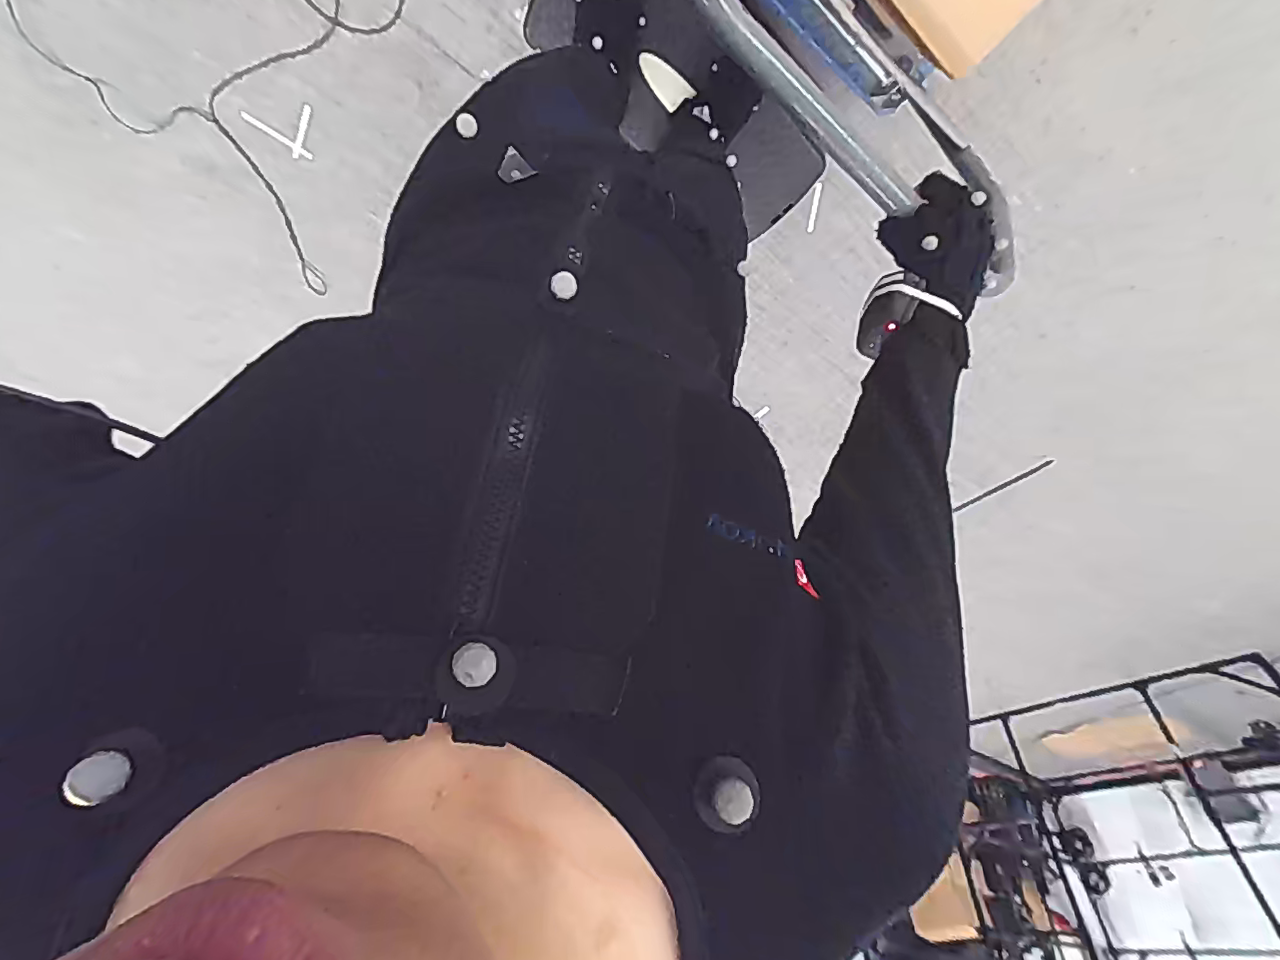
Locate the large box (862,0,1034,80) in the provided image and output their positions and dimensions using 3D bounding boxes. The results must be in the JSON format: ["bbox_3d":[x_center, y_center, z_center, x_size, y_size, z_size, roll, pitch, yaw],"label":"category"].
[{"bbox_3d":[0.365,-0.821,0.670,0.408,0.320,0.320,25,135,-26],"label":"large box"}]
